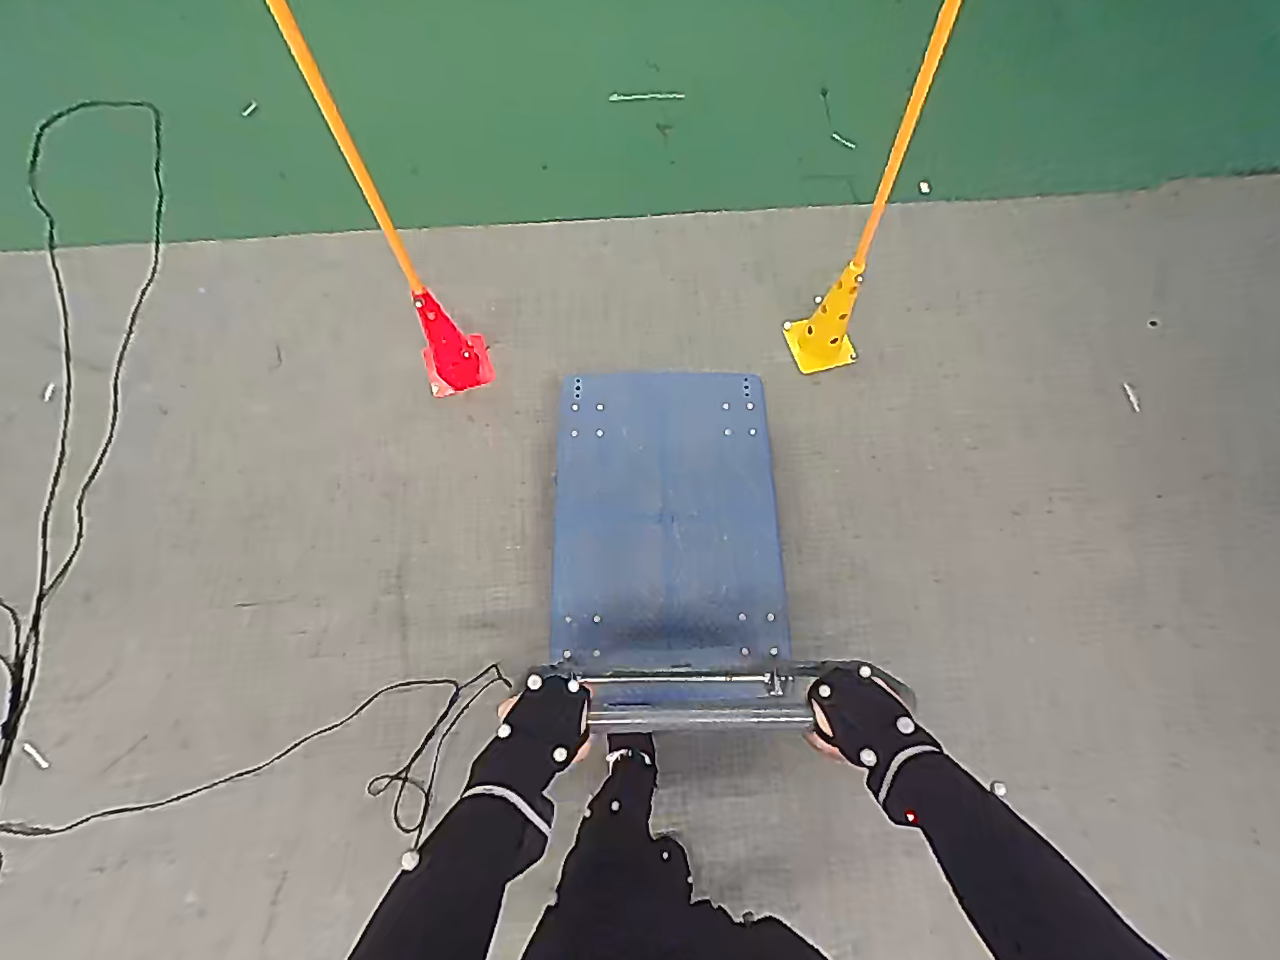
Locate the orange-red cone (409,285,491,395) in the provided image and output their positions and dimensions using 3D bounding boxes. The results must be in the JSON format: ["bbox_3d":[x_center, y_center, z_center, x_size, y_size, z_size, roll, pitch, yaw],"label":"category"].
[{"bbox_3d":[-0.593,-0.437,1.592,0.199,0.360,0.198,-18,69,-6],"label":"orange-red cone"}]
